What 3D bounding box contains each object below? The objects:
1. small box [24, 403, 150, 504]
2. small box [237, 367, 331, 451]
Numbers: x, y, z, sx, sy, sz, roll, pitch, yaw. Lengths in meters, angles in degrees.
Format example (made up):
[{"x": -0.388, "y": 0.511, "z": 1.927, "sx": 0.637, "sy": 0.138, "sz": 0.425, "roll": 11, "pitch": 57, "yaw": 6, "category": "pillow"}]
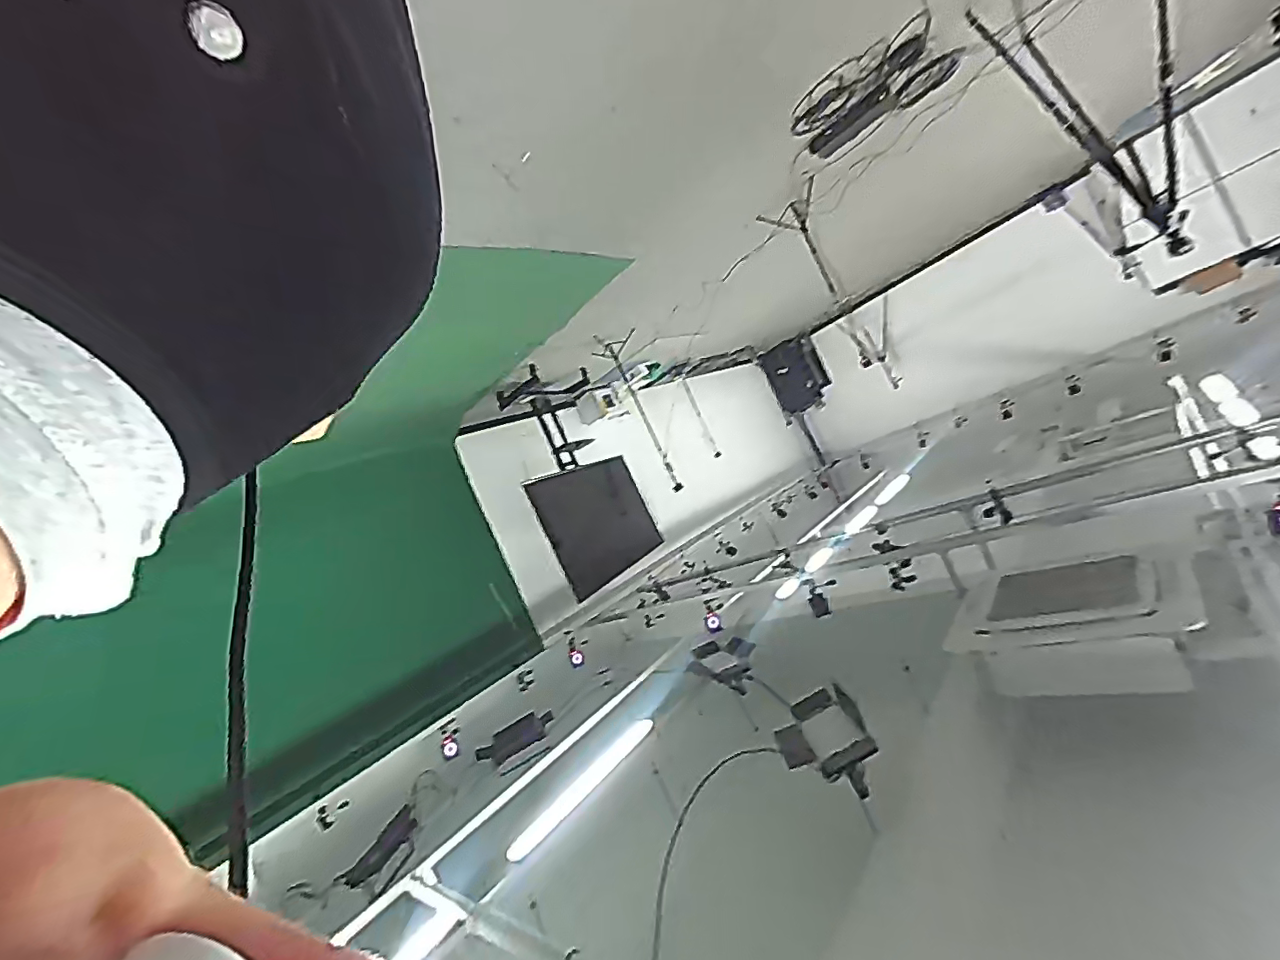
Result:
[{"x": -1.317, "y": -0.067, "z": 1.298, "sx": 0.168, "sy": 0.176, "sz": 0.179, "roll": -26, "pitch": 179, "yaw": -44, "category": "small box"}, {"x": -1.016, "y": -0.203, "z": 1.538, "sx": 0.168, "sy": 0.176, "sz": 0.179, "roll": -25, "pitch": 180, "yaw": -44, "category": "small box"}]
